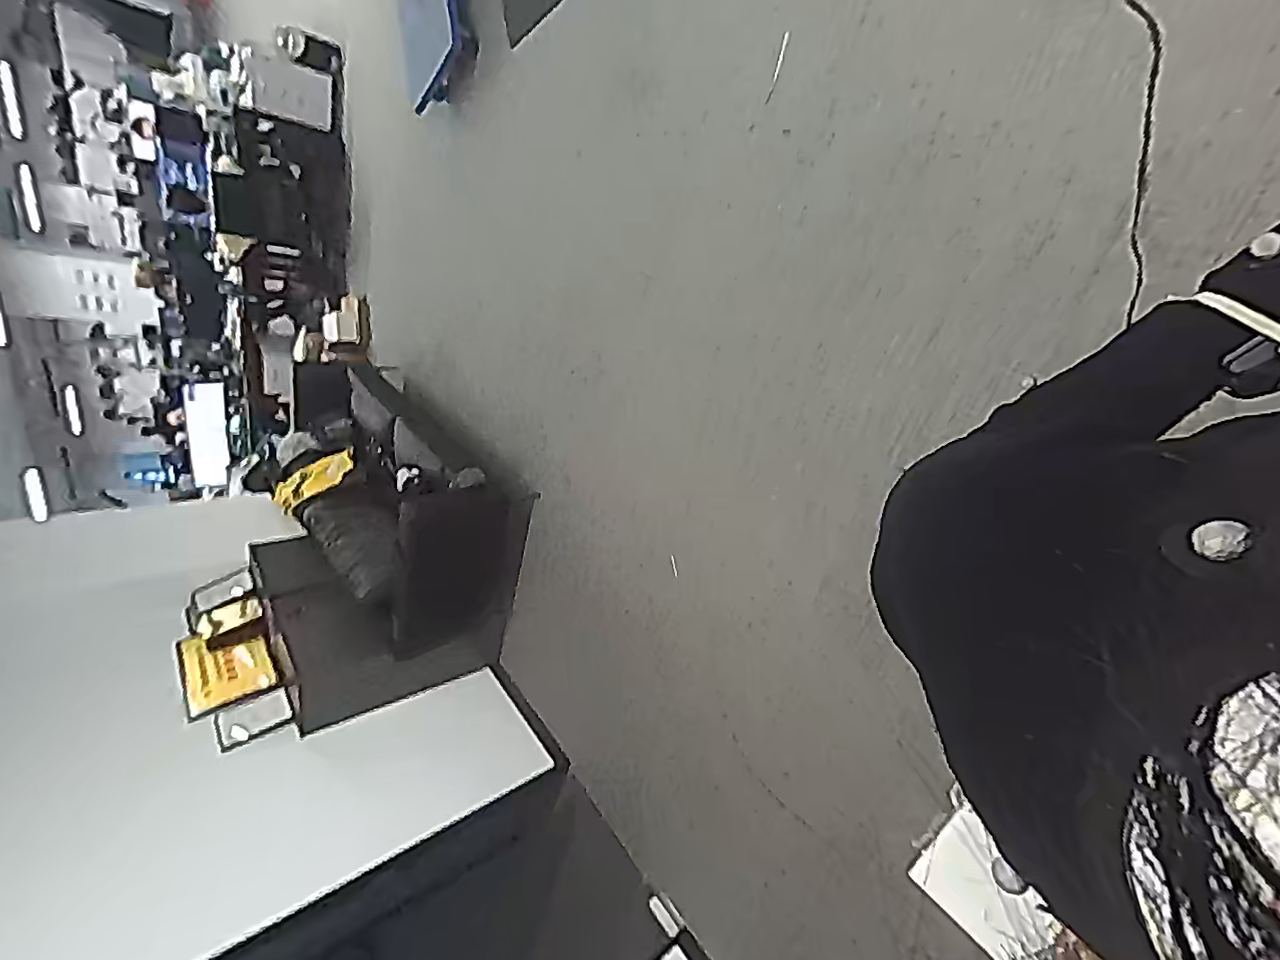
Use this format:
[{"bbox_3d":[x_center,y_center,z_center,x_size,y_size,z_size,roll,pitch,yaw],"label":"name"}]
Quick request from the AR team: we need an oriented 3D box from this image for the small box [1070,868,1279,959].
[{"bbox_3d":[0.660,0.625,0.650,0.168,0.176,0.179,43,126,36],"label":"small box"}]
